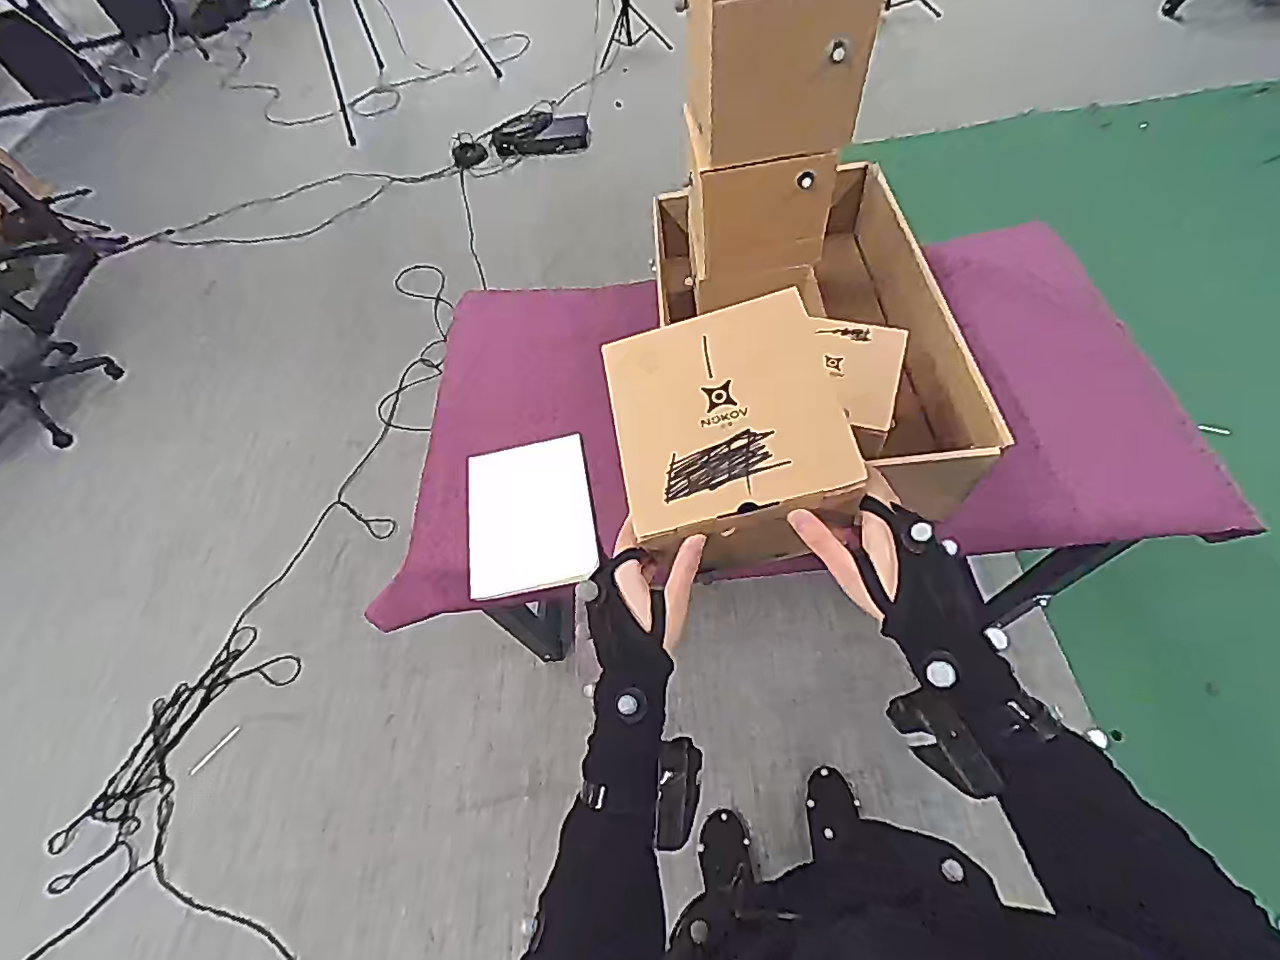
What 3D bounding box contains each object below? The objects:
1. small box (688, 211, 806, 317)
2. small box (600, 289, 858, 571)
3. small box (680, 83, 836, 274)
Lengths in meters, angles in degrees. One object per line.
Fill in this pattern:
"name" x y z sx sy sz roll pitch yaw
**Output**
"small box" 0.173 -0.340 0.908 0.168 0.176 0.179 -6 60 5
"small box" 0.078 -0.026 0.478 0.168 0.176 0.179 -15 65 10
"small box" 0.158 -0.418 0.767 0.179 0.176 0.168 -8 60 4
